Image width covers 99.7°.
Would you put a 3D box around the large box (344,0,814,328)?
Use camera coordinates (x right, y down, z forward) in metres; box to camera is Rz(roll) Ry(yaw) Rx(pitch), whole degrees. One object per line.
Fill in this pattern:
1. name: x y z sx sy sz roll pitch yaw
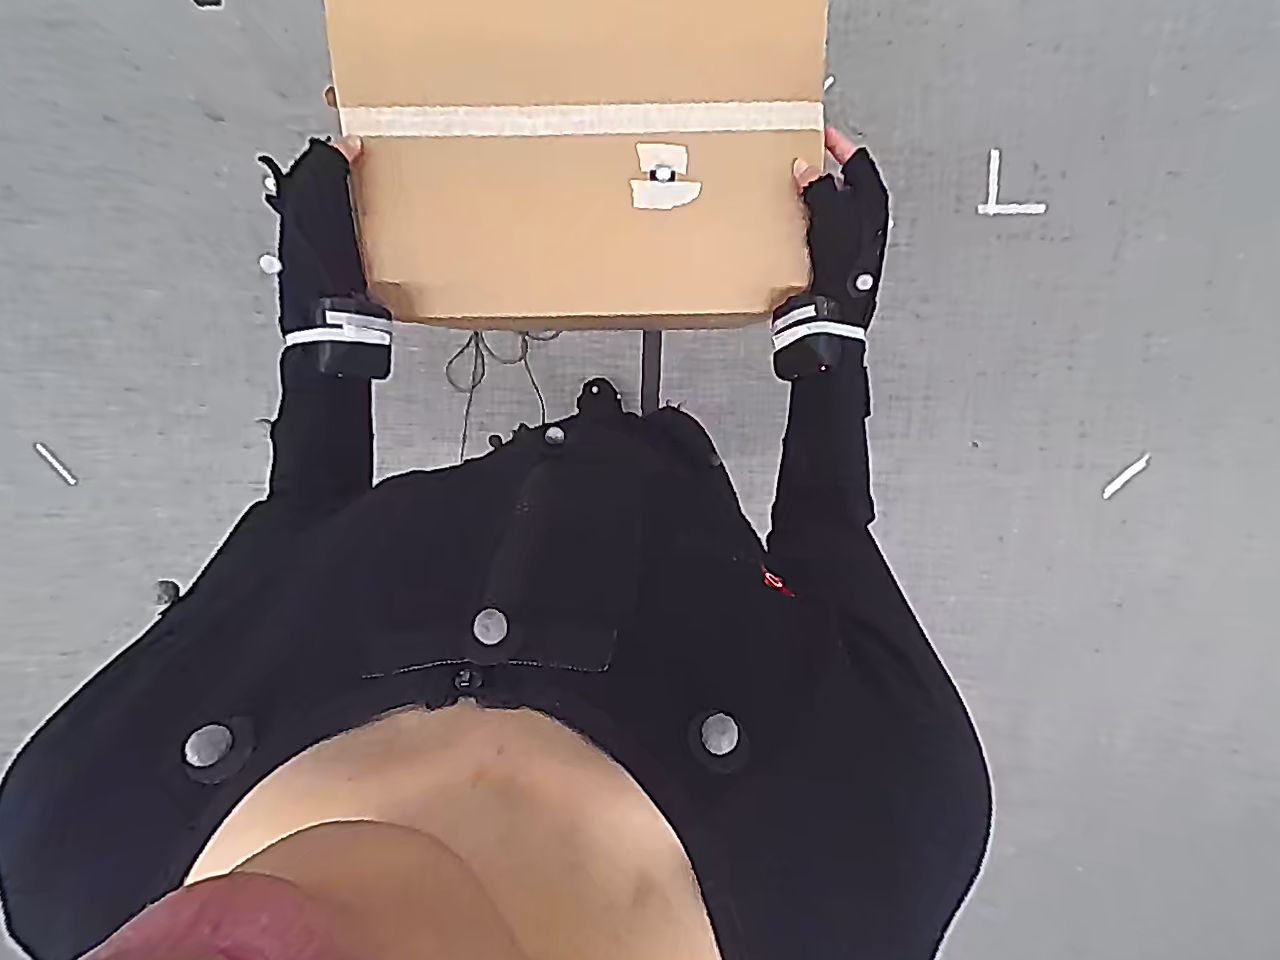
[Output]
1. large box: -0.052 -0.348 0.620 0.408 0.320 0.320 -2 104 -2
